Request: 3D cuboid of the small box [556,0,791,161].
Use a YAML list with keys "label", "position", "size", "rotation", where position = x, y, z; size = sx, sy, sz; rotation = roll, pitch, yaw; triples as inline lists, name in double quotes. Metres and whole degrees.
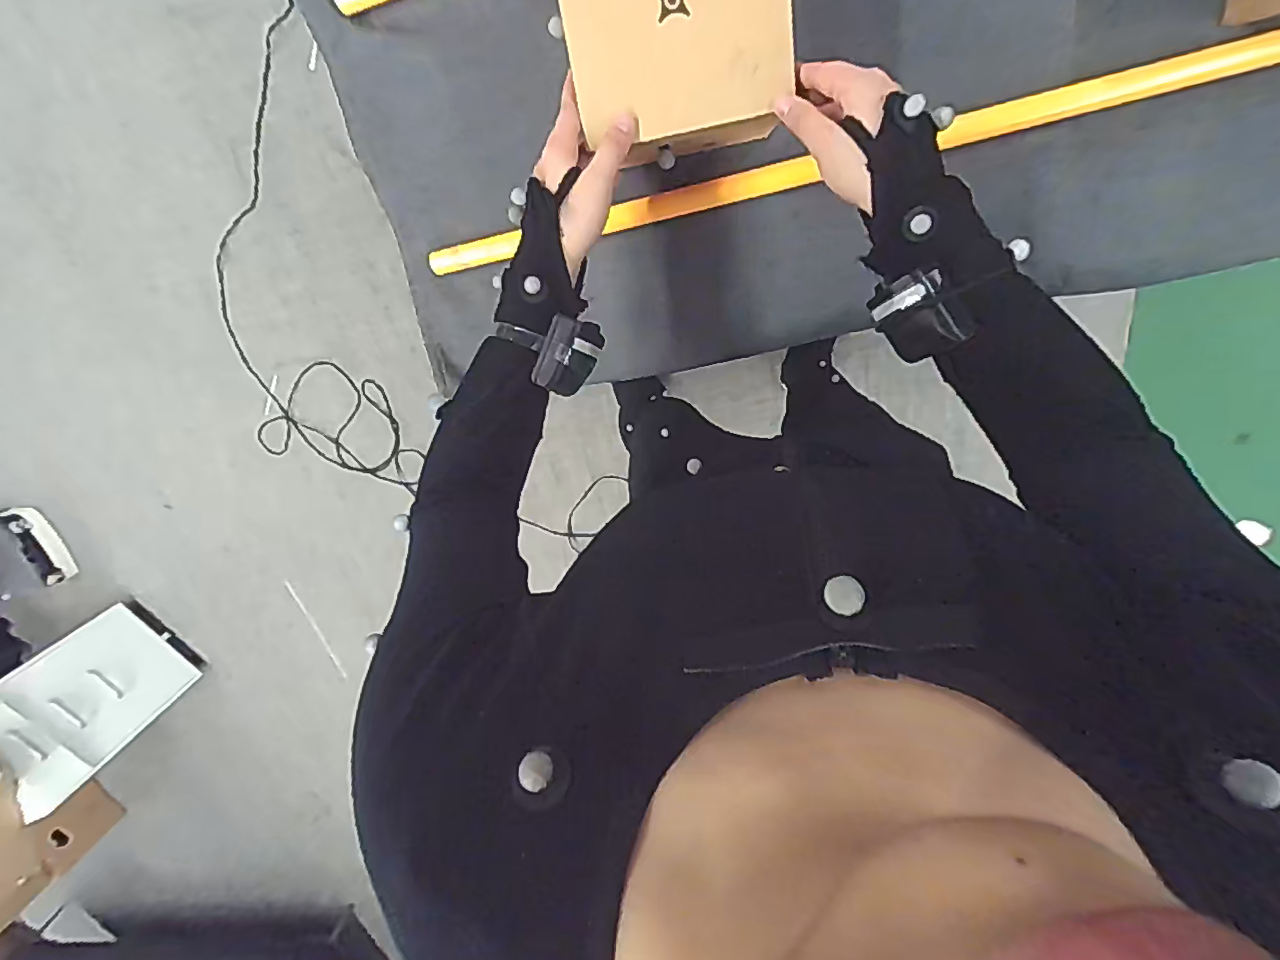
- label: "small box"
  position: [0.030, -0.382, 0.454]
  size: [0.168, 0.176, 0.179]
  rotation: [-7, 114, 10]
